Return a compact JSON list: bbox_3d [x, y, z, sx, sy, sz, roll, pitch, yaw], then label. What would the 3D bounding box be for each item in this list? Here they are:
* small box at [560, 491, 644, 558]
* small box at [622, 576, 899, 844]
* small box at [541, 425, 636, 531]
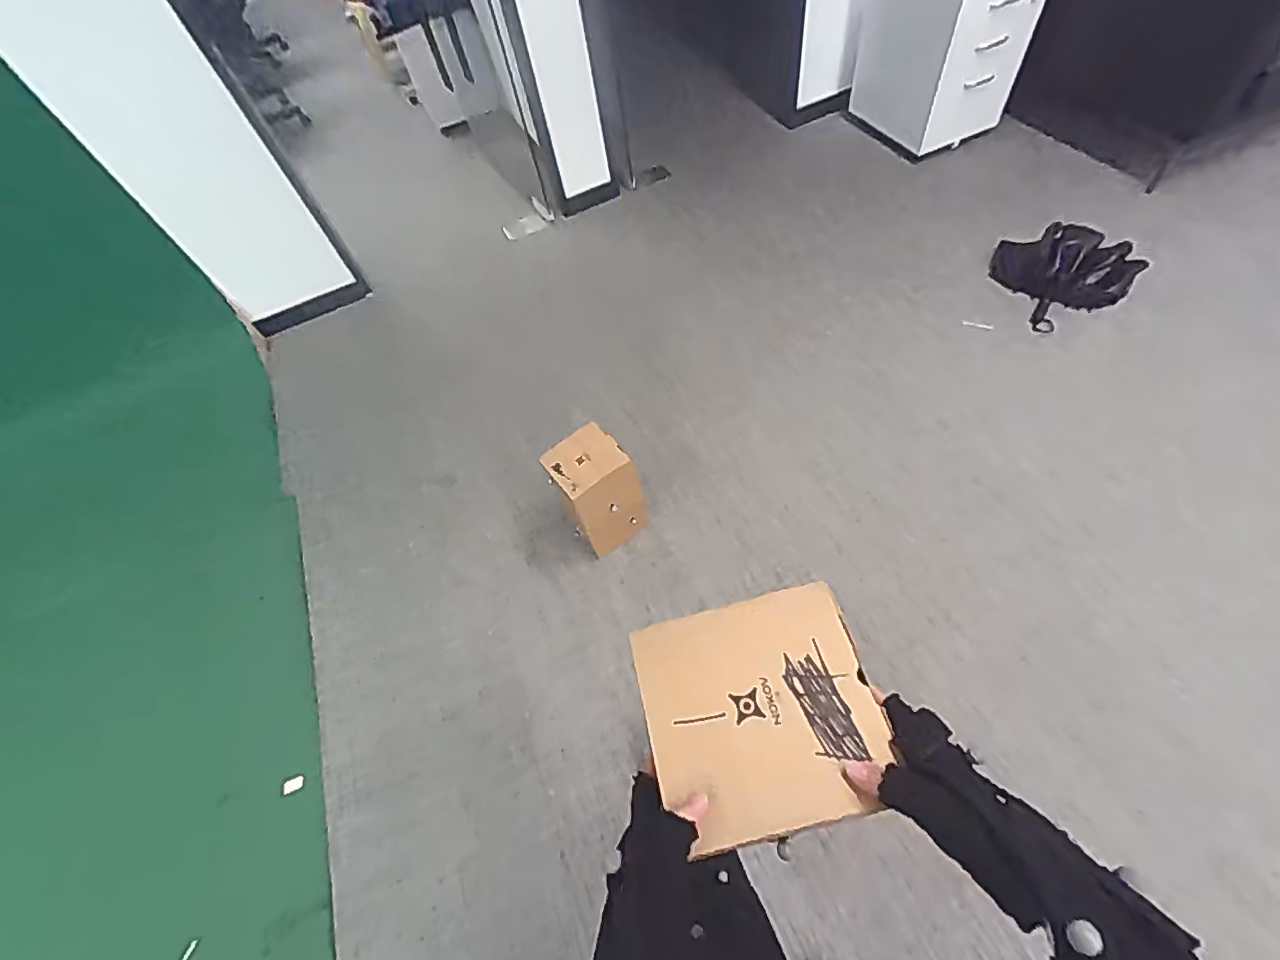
[{"bbox_3d":[-0.102,0.086,1.530,0.179,0.176,0.168,-36,58,-12],"label":"small box"},{"bbox_3d":[0.094,0.210,0.486,0.179,0.176,0.168,-15,55,1],"label":"small box"},{"bbox_3d":[-0.125,-0.003,1.397,0.179,0.176,0.168,-38,61,-14],"label":"small box"}]
